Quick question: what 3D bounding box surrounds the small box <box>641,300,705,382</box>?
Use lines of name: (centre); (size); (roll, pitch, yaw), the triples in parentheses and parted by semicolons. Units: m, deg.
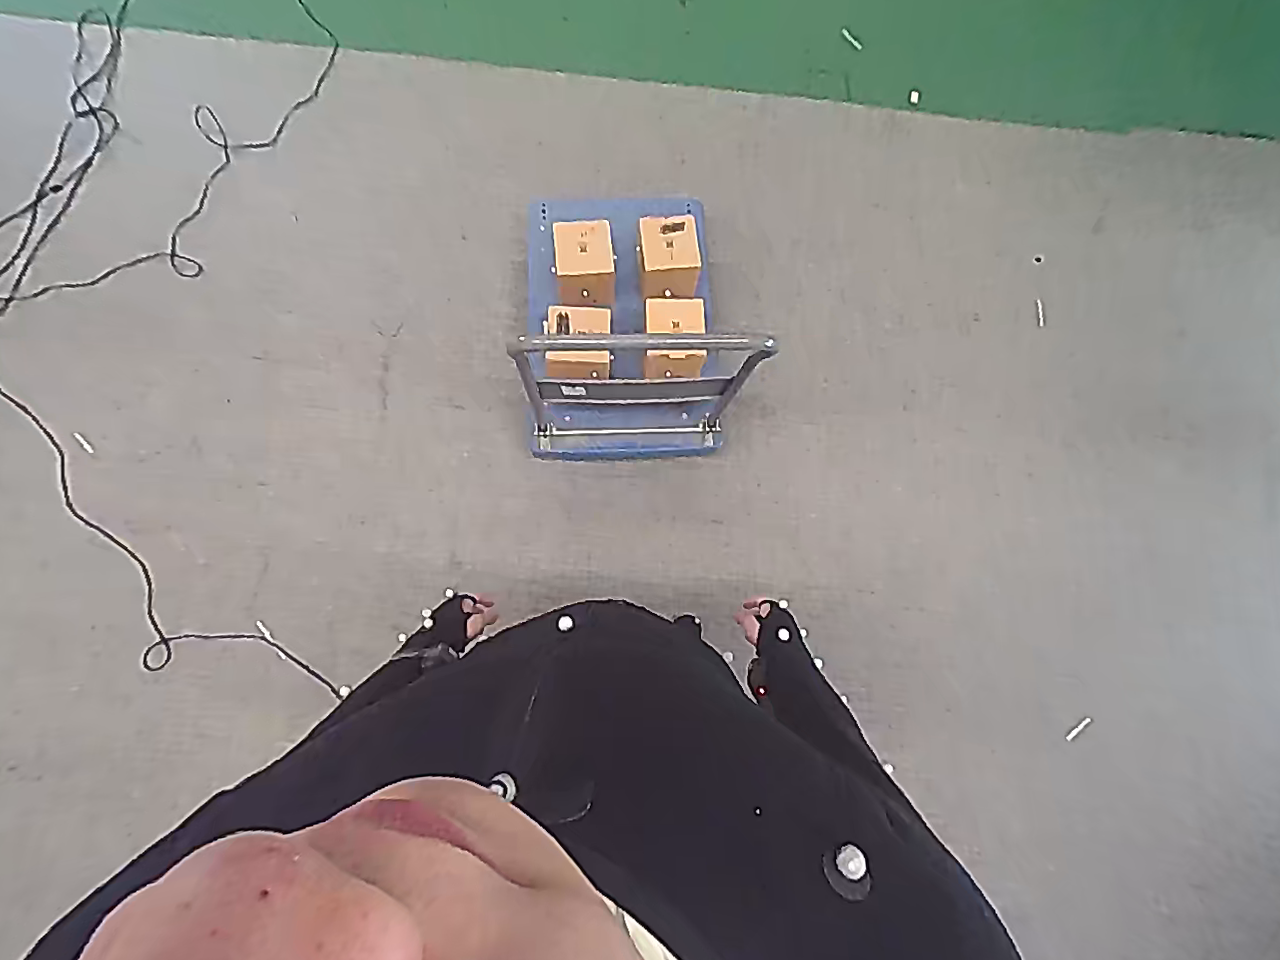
small box: (0.092, -0.404, 1.582); (0.168, 0.176, 0.179); (-1, 77, -4)

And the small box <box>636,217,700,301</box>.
small box: (0.079, -0.667, 1.642); (0.168, 0.176, 0.179); (-5, 78, -4)

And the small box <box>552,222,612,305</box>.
small box: (-0.171, -0.642, 1.621); (0.168, 0.176, 0.179); (-5, 77, -6)
